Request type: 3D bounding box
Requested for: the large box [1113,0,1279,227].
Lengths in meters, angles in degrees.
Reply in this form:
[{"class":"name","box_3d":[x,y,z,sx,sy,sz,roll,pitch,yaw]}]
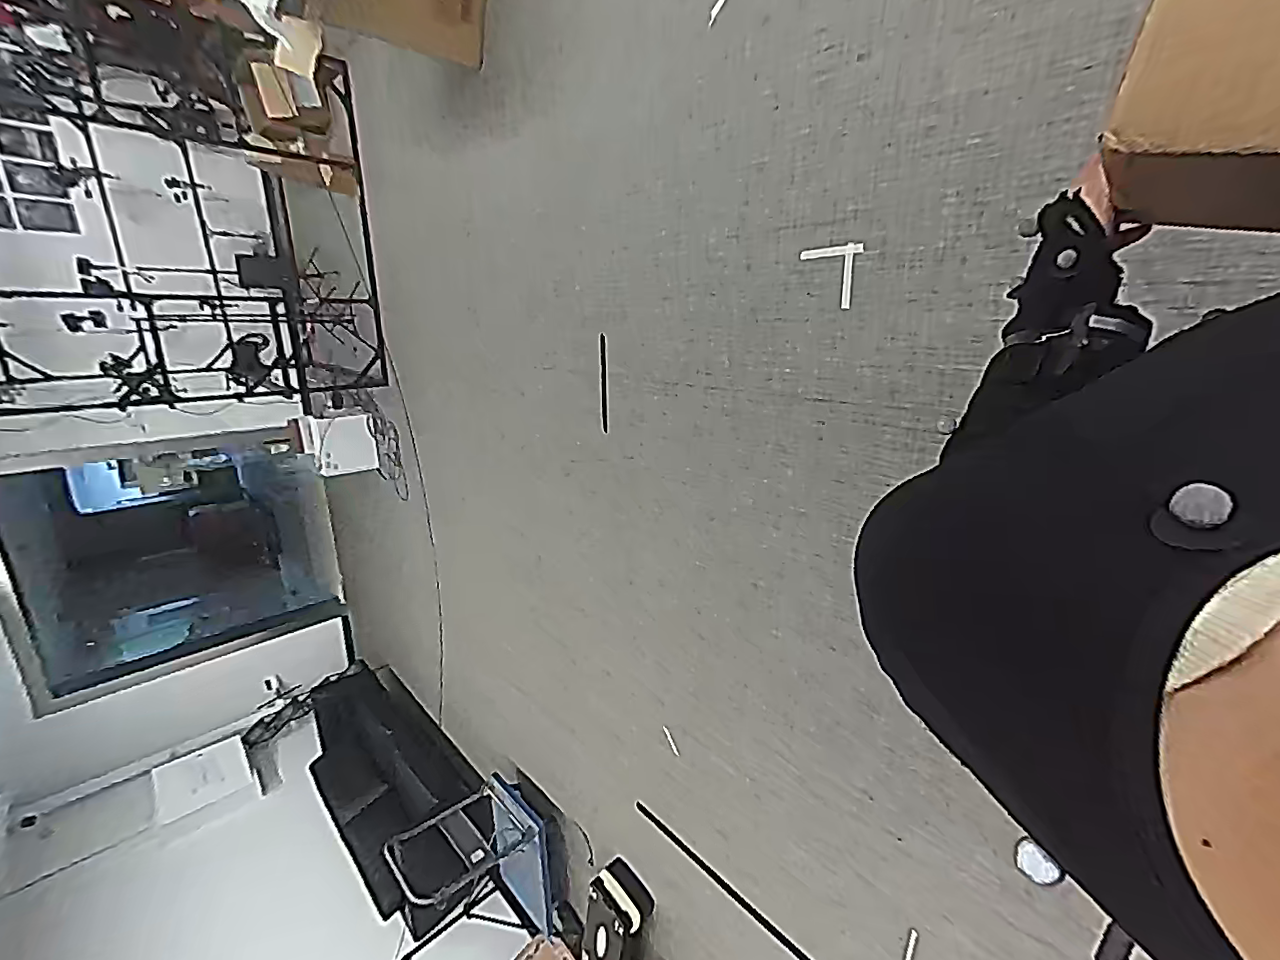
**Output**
[{"class":"large box","box_3d":[0.482,-0.272,0.196,0.408,0.320,0.320,24,119,34]}]
